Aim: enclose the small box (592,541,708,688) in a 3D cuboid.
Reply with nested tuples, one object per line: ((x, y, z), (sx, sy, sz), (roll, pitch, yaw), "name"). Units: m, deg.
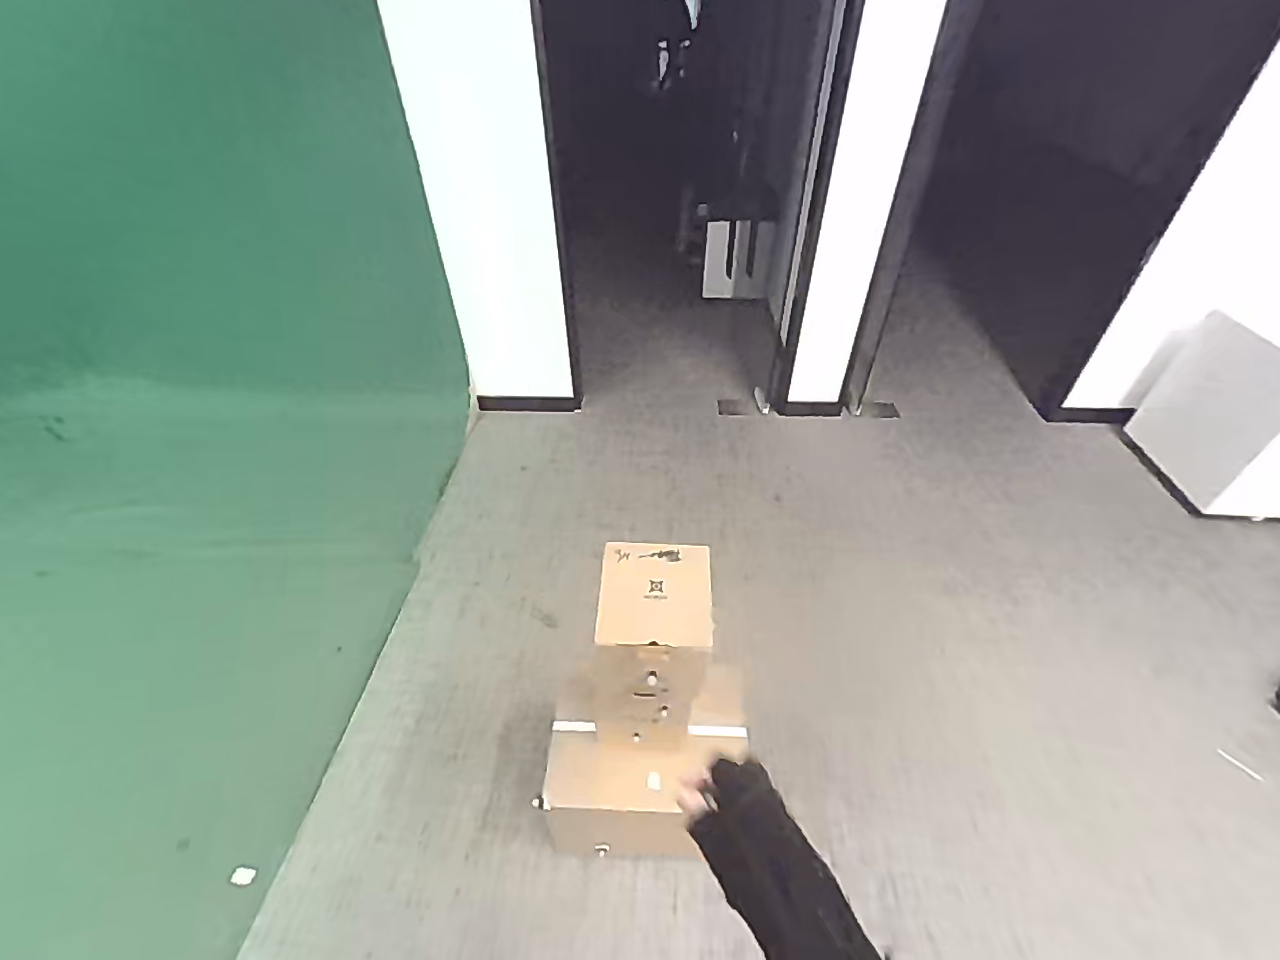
((0.021, 0.217, 0.863), (0.168, 0.176, 0.179), (2, 49, 3), "small box")

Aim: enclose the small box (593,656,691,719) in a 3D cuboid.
((0.010, 0.321, 0.989), (0.168, 0.176, 0.179), (2, 47, 2), "small box")

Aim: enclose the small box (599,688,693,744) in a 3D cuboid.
((0.013, 0.429, 1.109), (0.179, 0.176, 0.168), (1, 48, 2), "small box")
